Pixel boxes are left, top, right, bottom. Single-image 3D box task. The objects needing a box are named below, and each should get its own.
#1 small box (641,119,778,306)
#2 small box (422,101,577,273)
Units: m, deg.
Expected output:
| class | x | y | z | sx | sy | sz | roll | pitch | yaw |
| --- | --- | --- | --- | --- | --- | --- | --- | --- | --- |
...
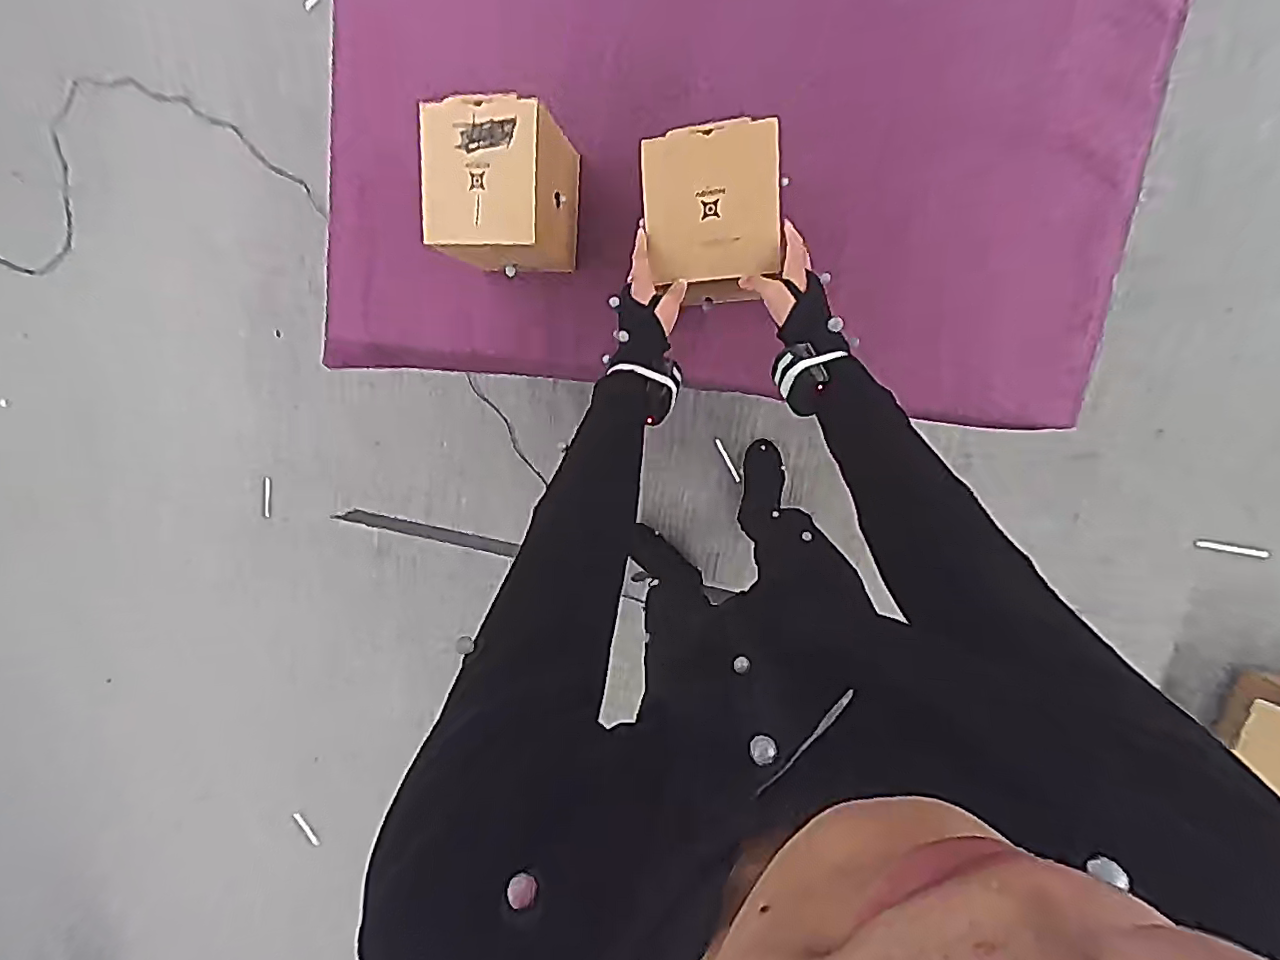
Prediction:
| class | x | y | z | sx | sy | sz | roll | pitch | yaw |
| --- | --- | --- | --- | --- | --- | --- | --- | --- | --- |
| small box | 0.099 | -0.347 | 0.736 | 0.168 | 0.176 | 0.179 | -1 | 98 | 13 |
| small box | -0.195 | -0.412 | 0.786 | 0.168 | 0.176 | 0.179 | 5 | 100 | 11 |
